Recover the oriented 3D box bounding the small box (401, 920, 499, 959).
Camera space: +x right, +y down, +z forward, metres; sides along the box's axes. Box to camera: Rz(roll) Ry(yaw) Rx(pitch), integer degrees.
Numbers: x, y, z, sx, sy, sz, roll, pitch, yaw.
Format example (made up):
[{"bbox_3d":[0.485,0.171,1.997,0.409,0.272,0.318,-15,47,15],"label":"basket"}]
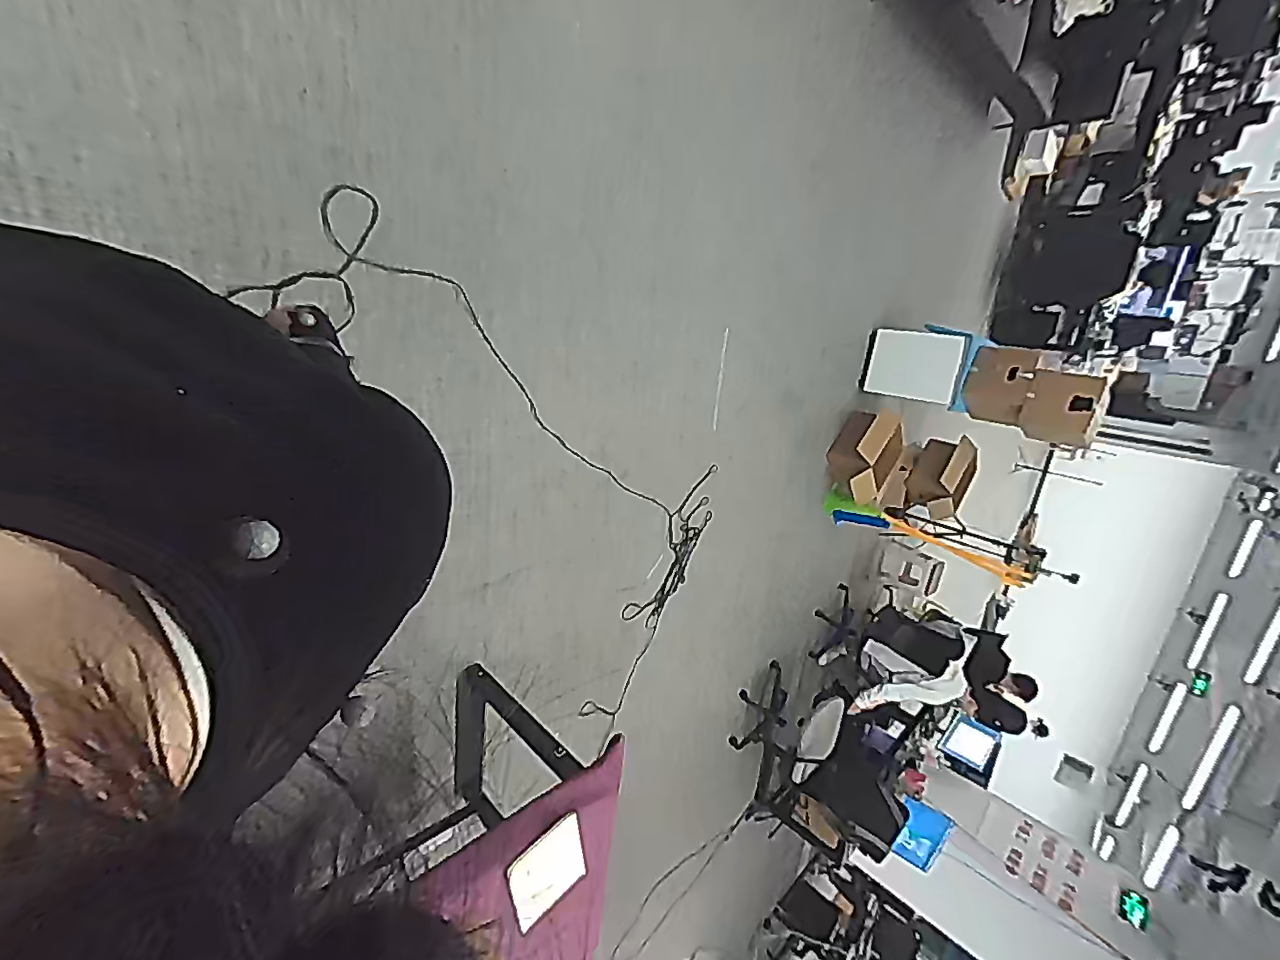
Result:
[{"bbox_3d":[-0.394,1.065,1.111,0.168,0.176,0.179,-8,111,-44],"label":"small box"}]
